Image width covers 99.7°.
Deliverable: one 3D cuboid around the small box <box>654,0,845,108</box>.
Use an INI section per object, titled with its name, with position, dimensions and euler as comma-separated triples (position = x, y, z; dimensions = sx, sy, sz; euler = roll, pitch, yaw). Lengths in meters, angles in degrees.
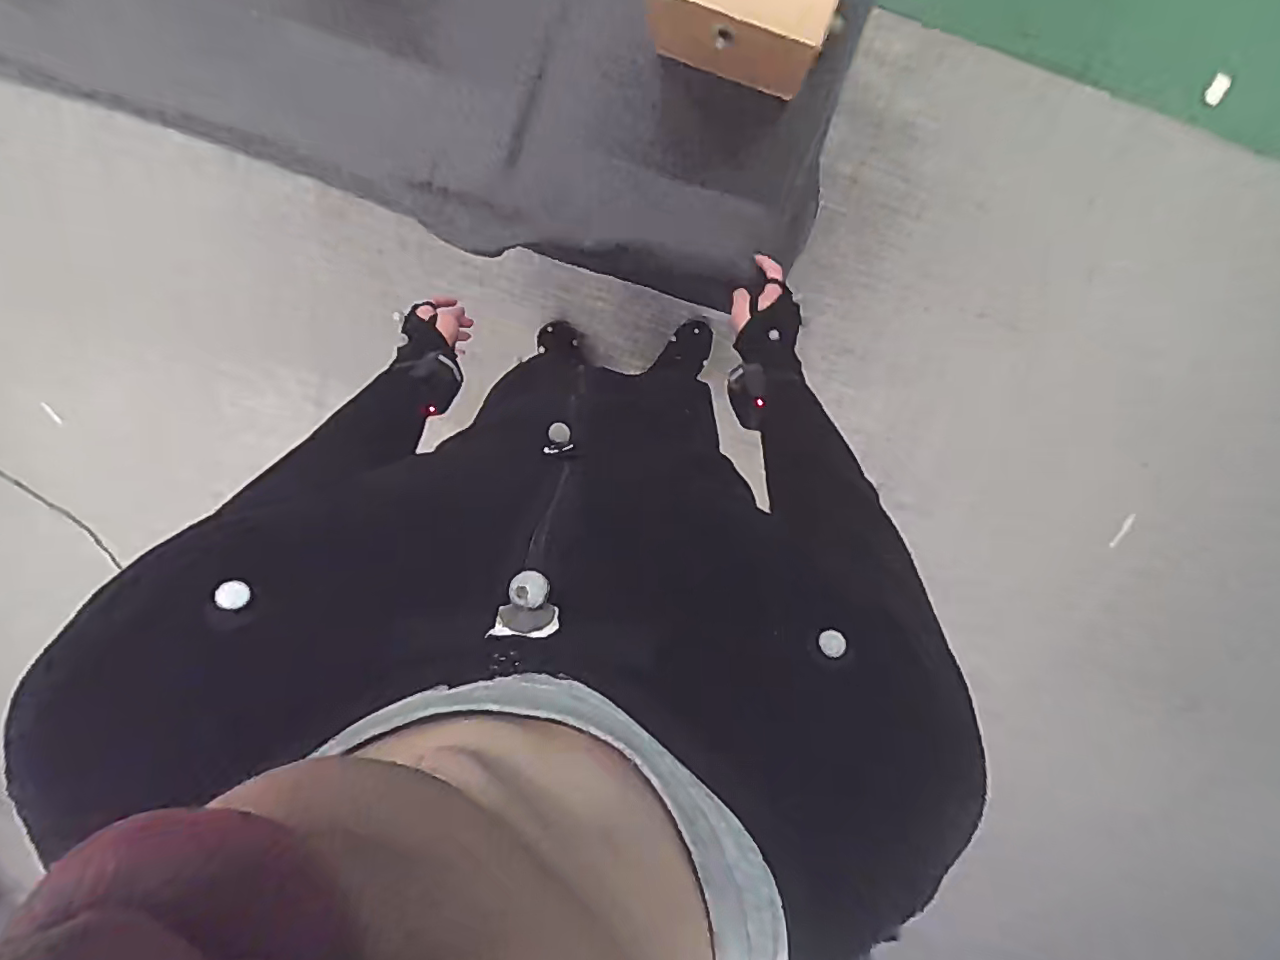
[small box]
position = 0.125, -0.522, 0.560
dimensions = 0.179, 0.176, 0.168
euler = 20, 111, -2
